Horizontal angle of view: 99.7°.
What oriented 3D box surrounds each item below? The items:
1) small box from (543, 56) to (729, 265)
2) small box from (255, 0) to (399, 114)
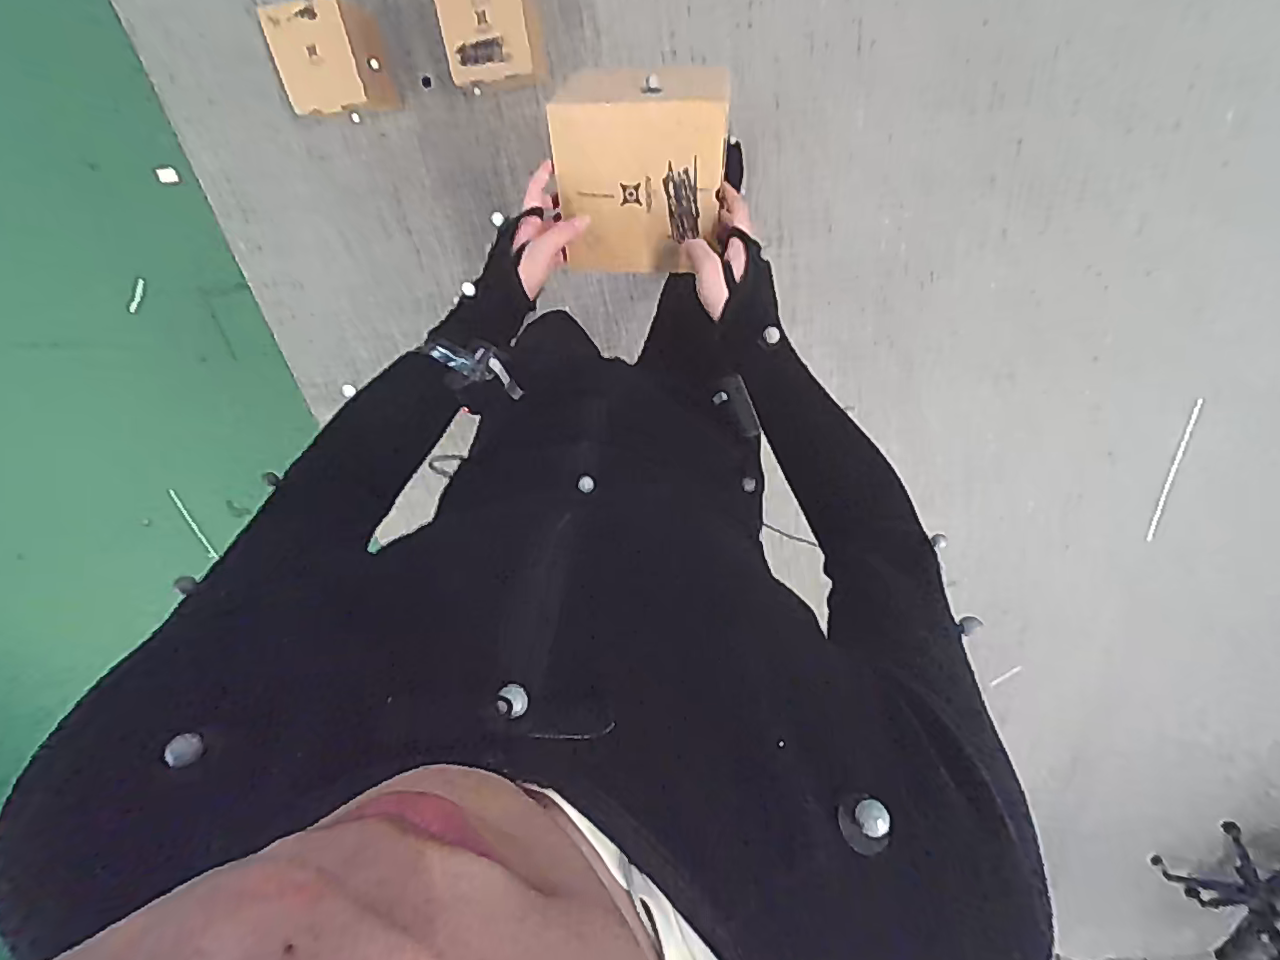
[{"bbox_3d":[0.007,-0.359,0.607,0.179,0.176,0.168,4,136,8],"label":"small box"},{"bbox_3d":[-0.636,-0.877,1.127,0.168,0.176,0.179,-4,121,7],"label":"small box"}]
